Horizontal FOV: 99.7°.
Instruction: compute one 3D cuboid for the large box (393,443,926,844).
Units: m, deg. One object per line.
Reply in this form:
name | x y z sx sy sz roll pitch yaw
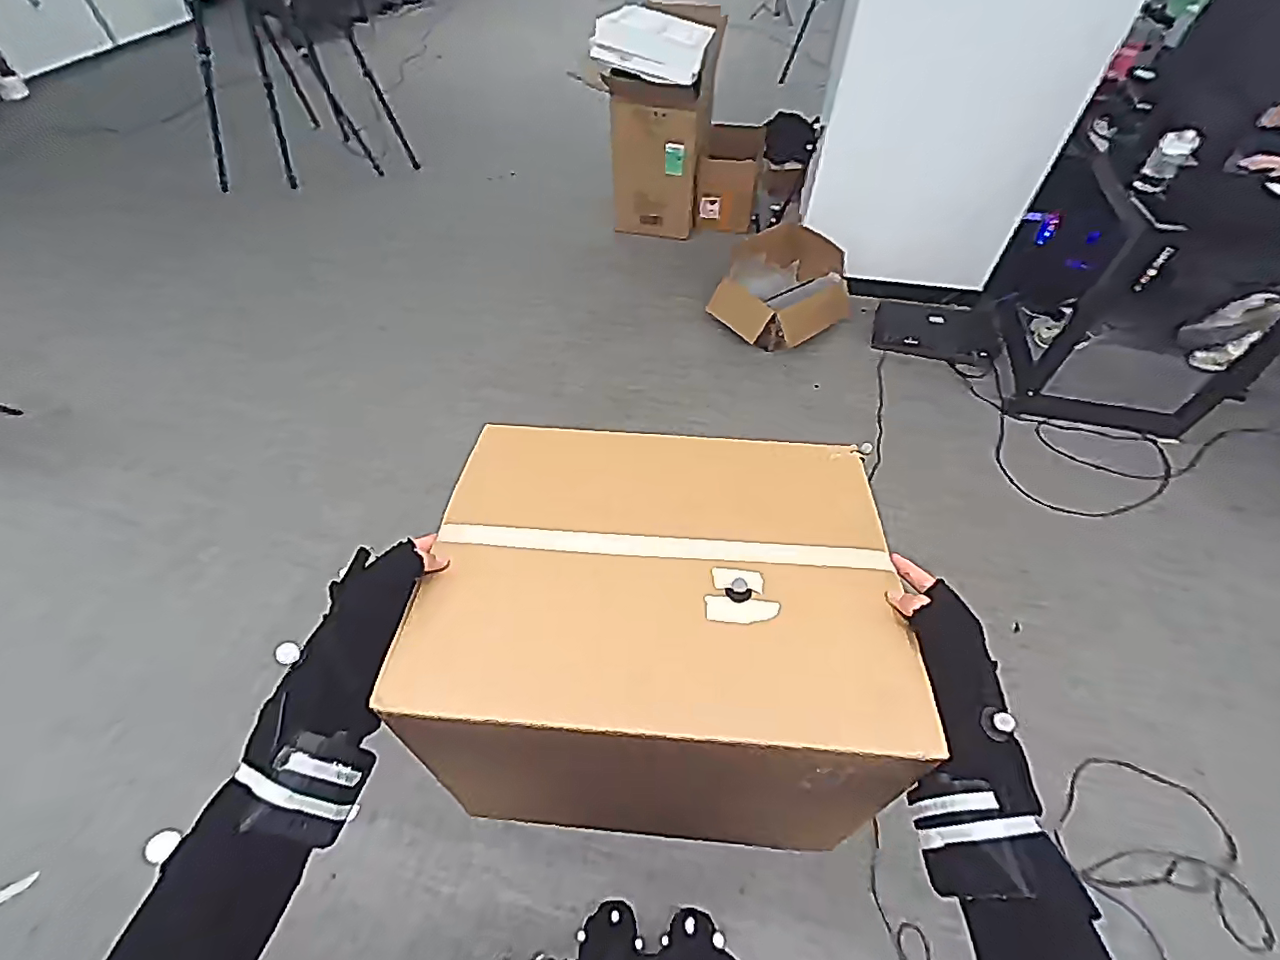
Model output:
large box | 0.017 0.180 0.604 0.408 0.320 0.320 4 46 3
